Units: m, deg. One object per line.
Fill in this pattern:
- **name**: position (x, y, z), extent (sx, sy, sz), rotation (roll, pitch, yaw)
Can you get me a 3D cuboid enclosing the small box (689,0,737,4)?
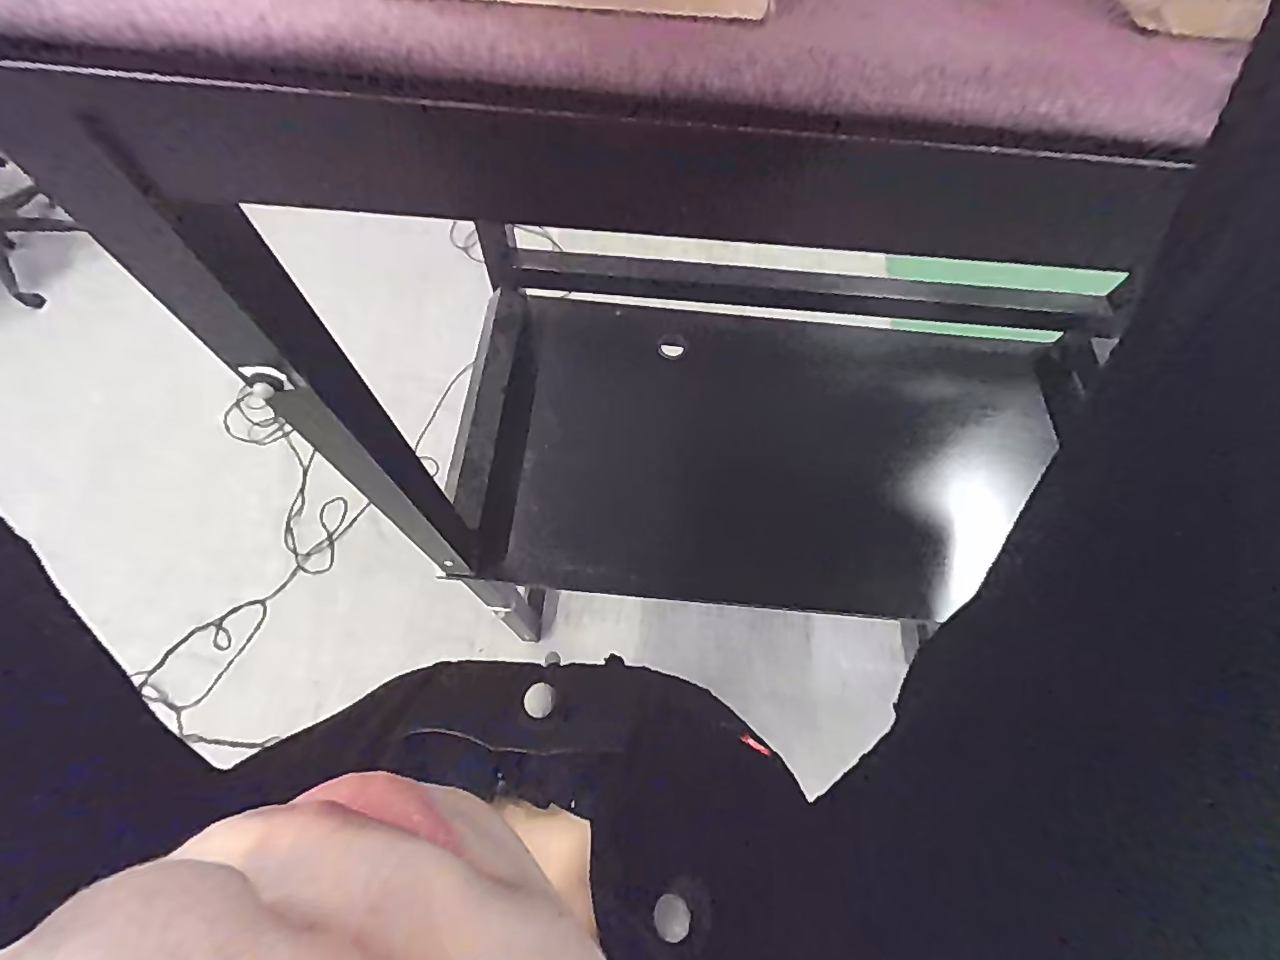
- **small box**: position (-0.021, -0.305, 0.178), extent (0.168, 0.176, 0.179), rotation (2, 64, -2)
